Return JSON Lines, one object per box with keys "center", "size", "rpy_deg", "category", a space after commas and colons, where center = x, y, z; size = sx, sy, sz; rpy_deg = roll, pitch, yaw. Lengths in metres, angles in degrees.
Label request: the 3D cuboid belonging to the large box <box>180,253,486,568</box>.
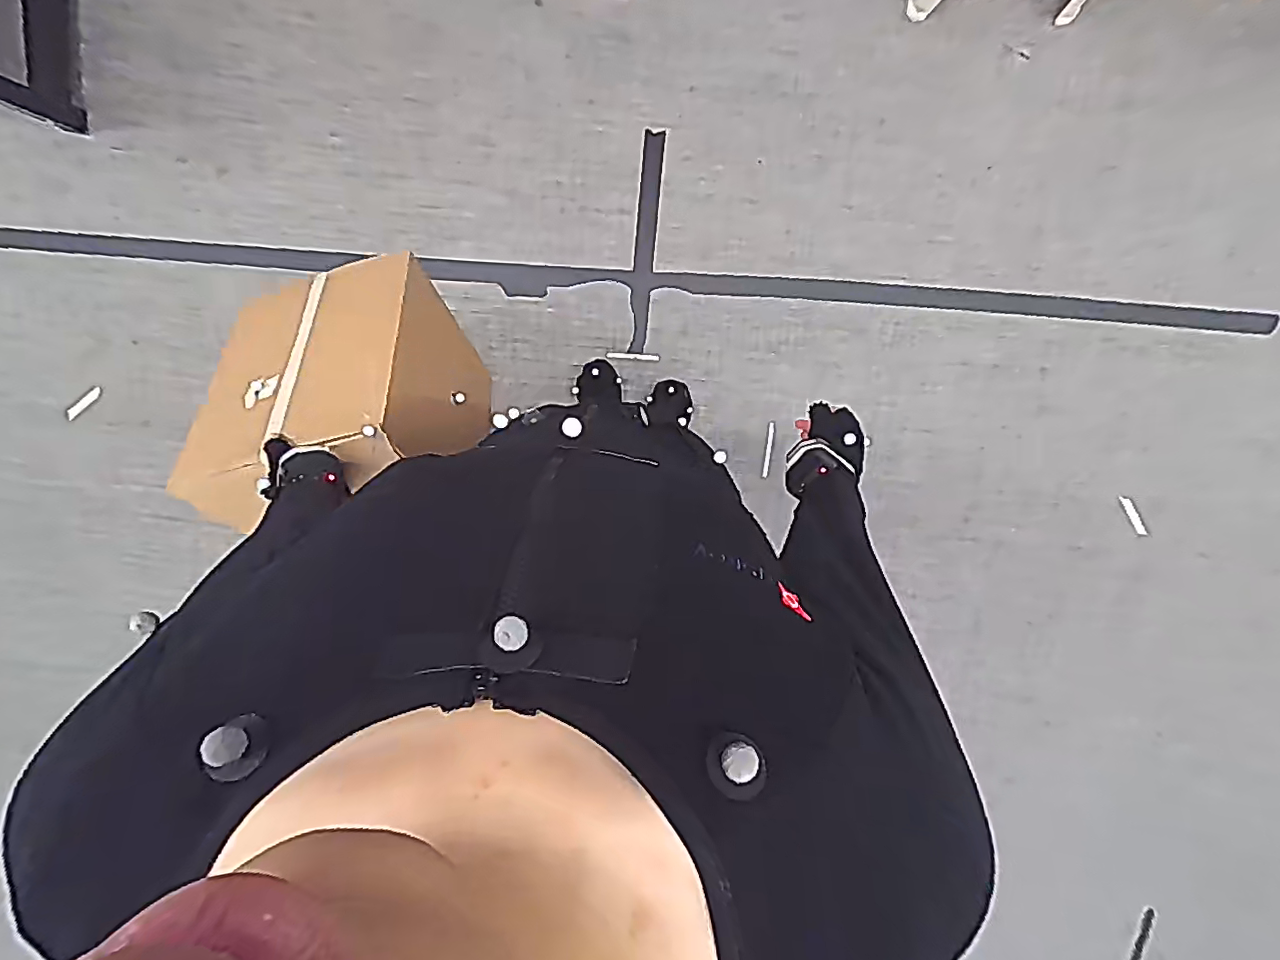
{"center": [-0.477, -0.113, 0.946], "size": [0.320, 0.408, 0.320], "rpy_deg": [-15, 146, 6], "category": "large box"}
